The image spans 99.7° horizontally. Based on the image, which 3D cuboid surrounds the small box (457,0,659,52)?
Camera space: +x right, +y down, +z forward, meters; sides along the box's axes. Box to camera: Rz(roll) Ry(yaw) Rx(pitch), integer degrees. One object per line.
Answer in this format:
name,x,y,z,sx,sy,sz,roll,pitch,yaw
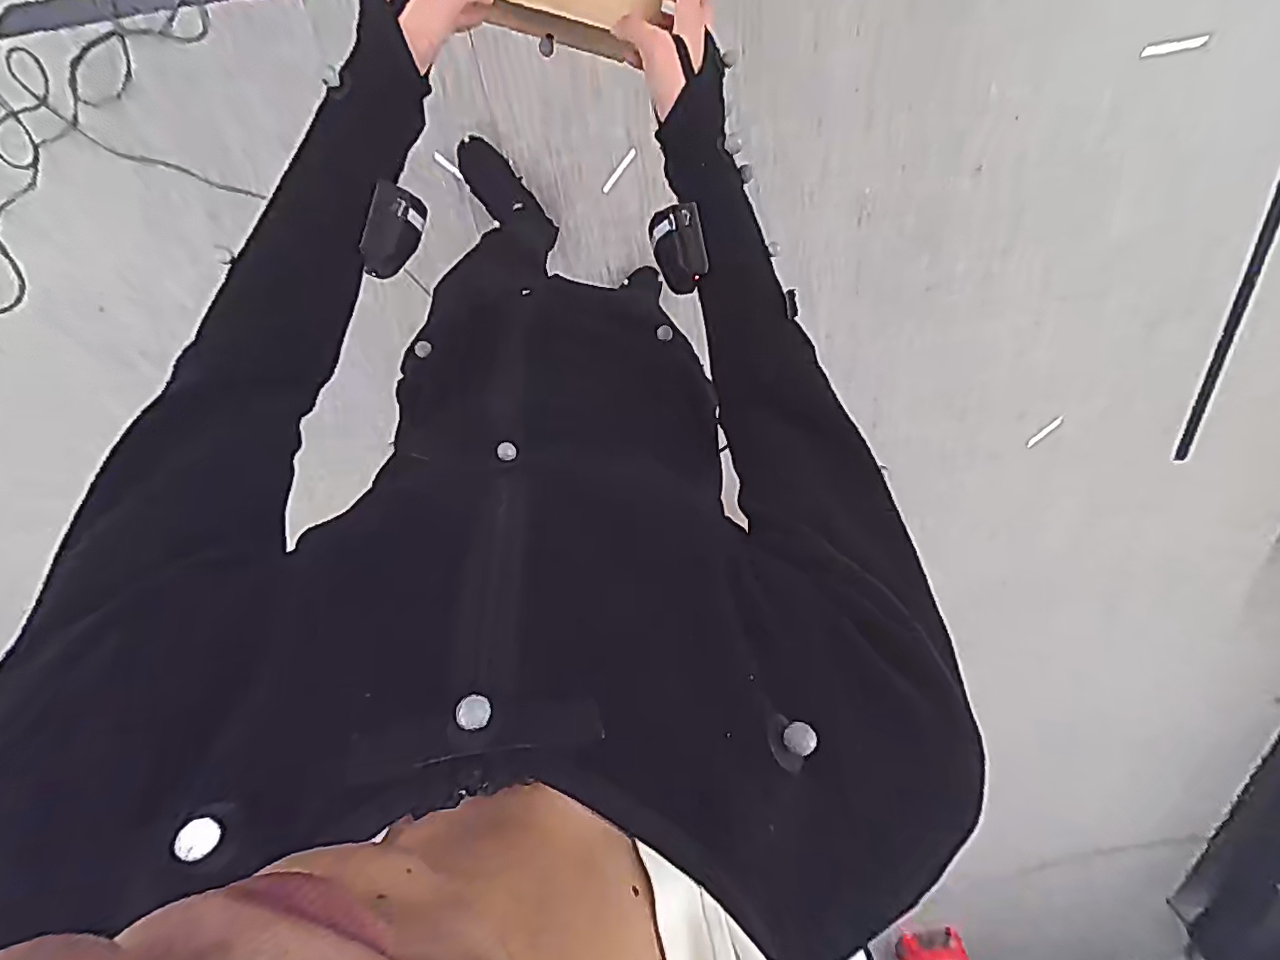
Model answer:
small box,-0.071,-0.501,0.473,0.179,0.176,0.168,4,122,-17
